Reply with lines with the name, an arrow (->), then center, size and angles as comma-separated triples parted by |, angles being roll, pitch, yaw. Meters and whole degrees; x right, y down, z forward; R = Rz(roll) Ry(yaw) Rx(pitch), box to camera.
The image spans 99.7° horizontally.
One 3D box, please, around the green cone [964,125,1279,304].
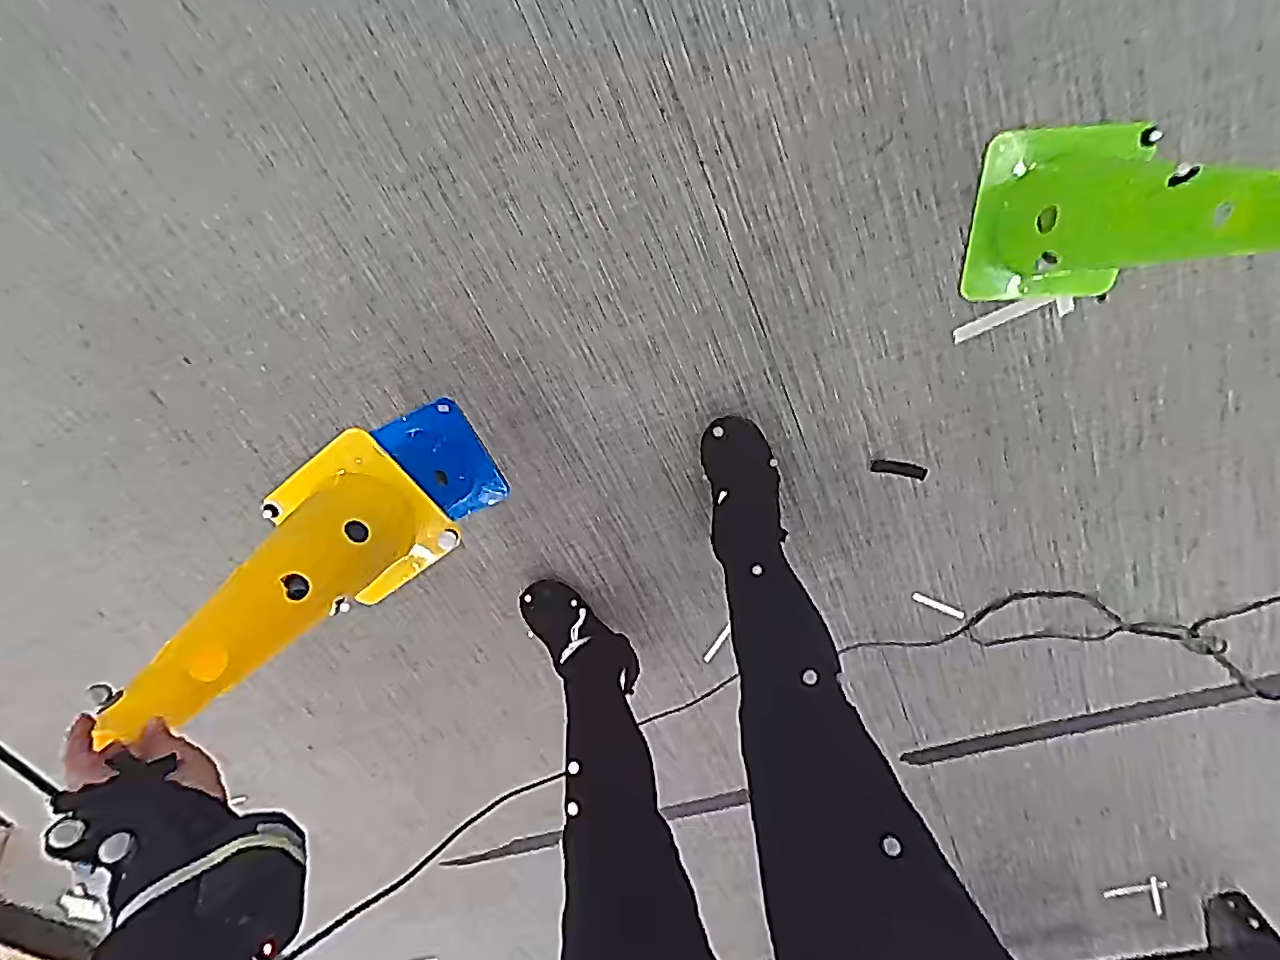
green cone -> 0.525, -0.259, 0.543 | 0.200, 0.368, 0.202 | -1, 116, 5
